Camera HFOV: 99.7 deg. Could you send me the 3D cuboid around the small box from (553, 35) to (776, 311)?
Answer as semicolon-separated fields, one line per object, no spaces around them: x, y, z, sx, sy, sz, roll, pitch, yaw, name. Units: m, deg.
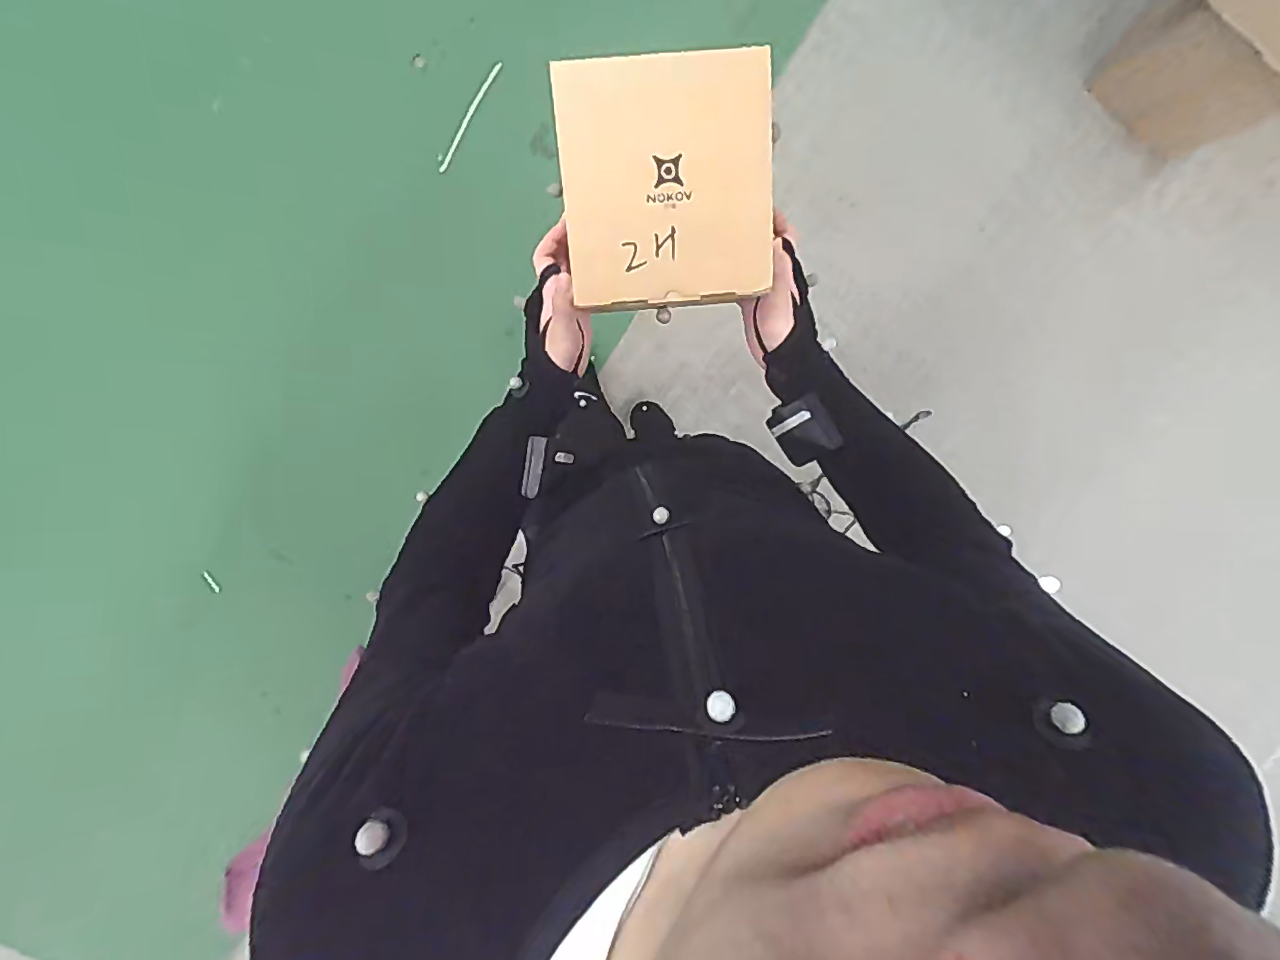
0.018;-0.252;0.486;0.168;0.176;0.179;-3;105;0;small box
